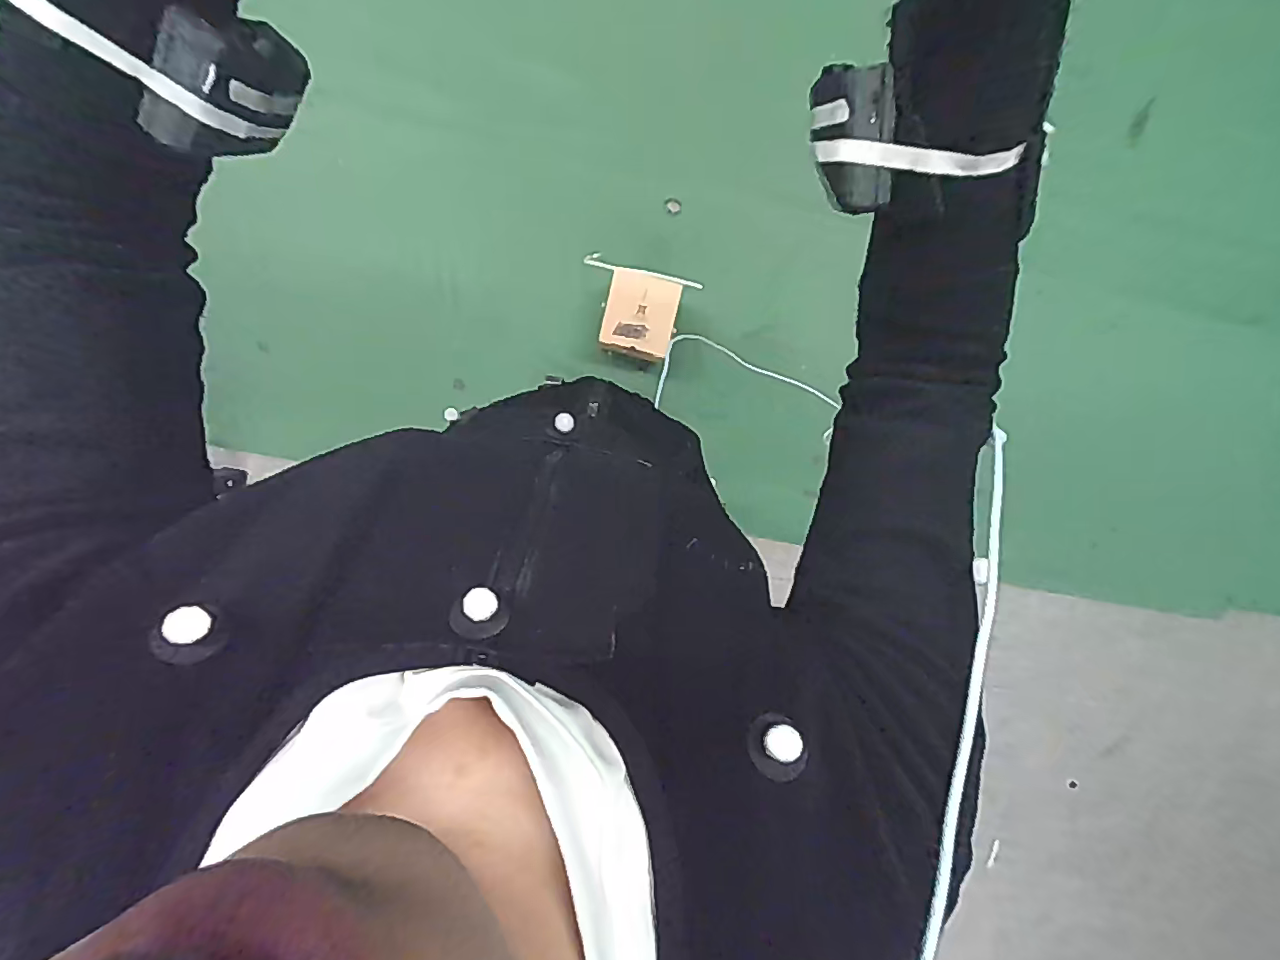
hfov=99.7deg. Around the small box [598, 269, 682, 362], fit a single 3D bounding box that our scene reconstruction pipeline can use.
[{"bbox_3d":[-0.003,-0.399,1.347,0.168,0.176,0.179,13,96,-6],"label":"small box"}]
